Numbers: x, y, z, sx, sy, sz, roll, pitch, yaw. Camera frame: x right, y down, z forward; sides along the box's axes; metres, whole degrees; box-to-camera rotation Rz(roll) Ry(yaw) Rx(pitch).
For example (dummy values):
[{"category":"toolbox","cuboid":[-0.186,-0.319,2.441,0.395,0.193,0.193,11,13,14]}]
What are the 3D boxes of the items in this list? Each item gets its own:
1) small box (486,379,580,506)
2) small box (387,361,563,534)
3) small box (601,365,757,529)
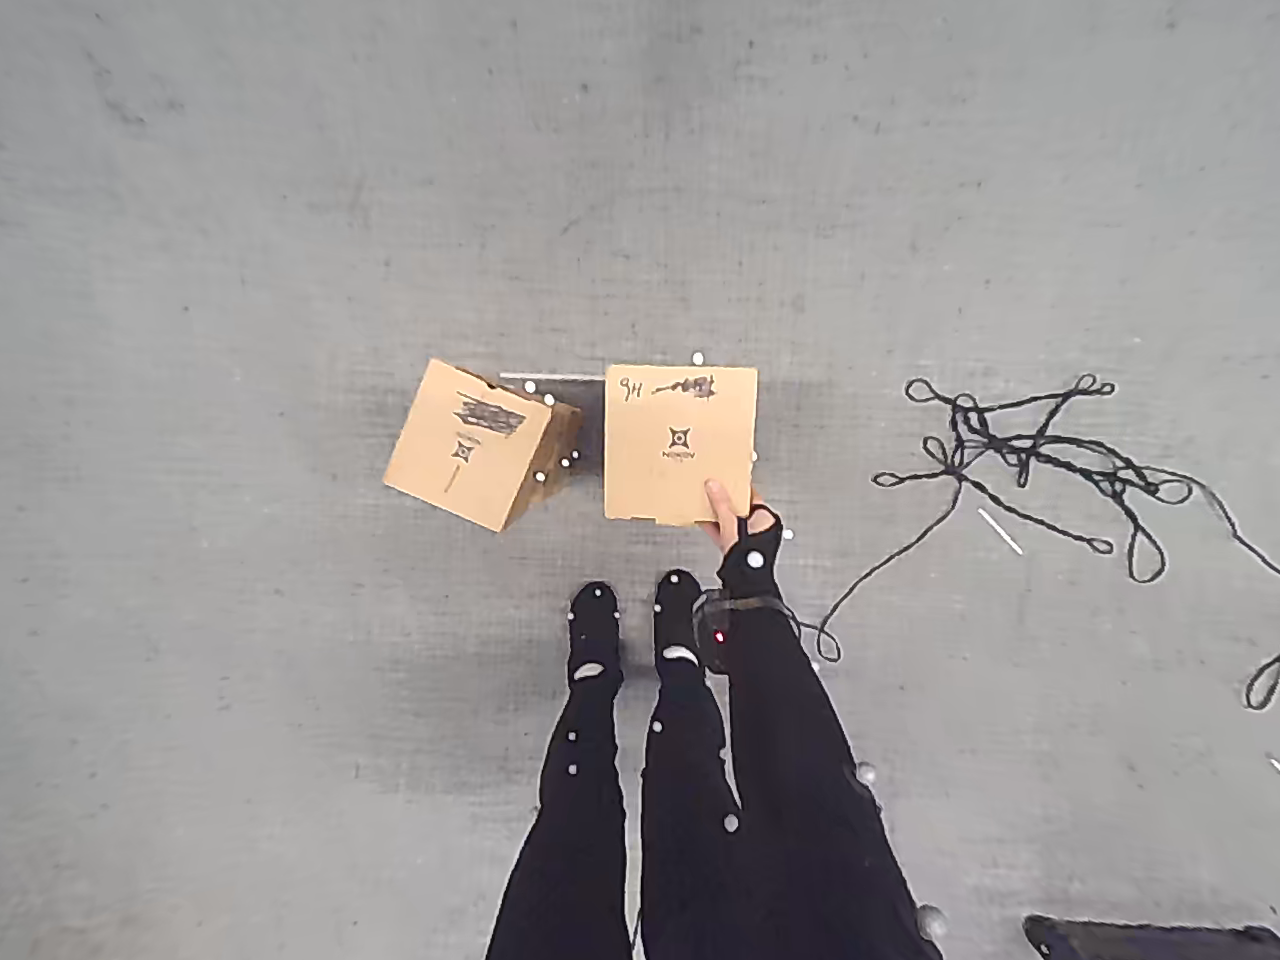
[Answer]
[{"category":"small box","cuboid":[-0.215,-0.065,0.931,0.179,0.176,0.168,19,93,-2]},{"category":"small box","cuboid":[-0.218,-0.046,0.768,0.168,0.176,0.179,24,94,-2]},{"category":"small box","cuboid":[0.048,-0.050,0.670,0.168,0.176,0.179,3,100,5]}]
